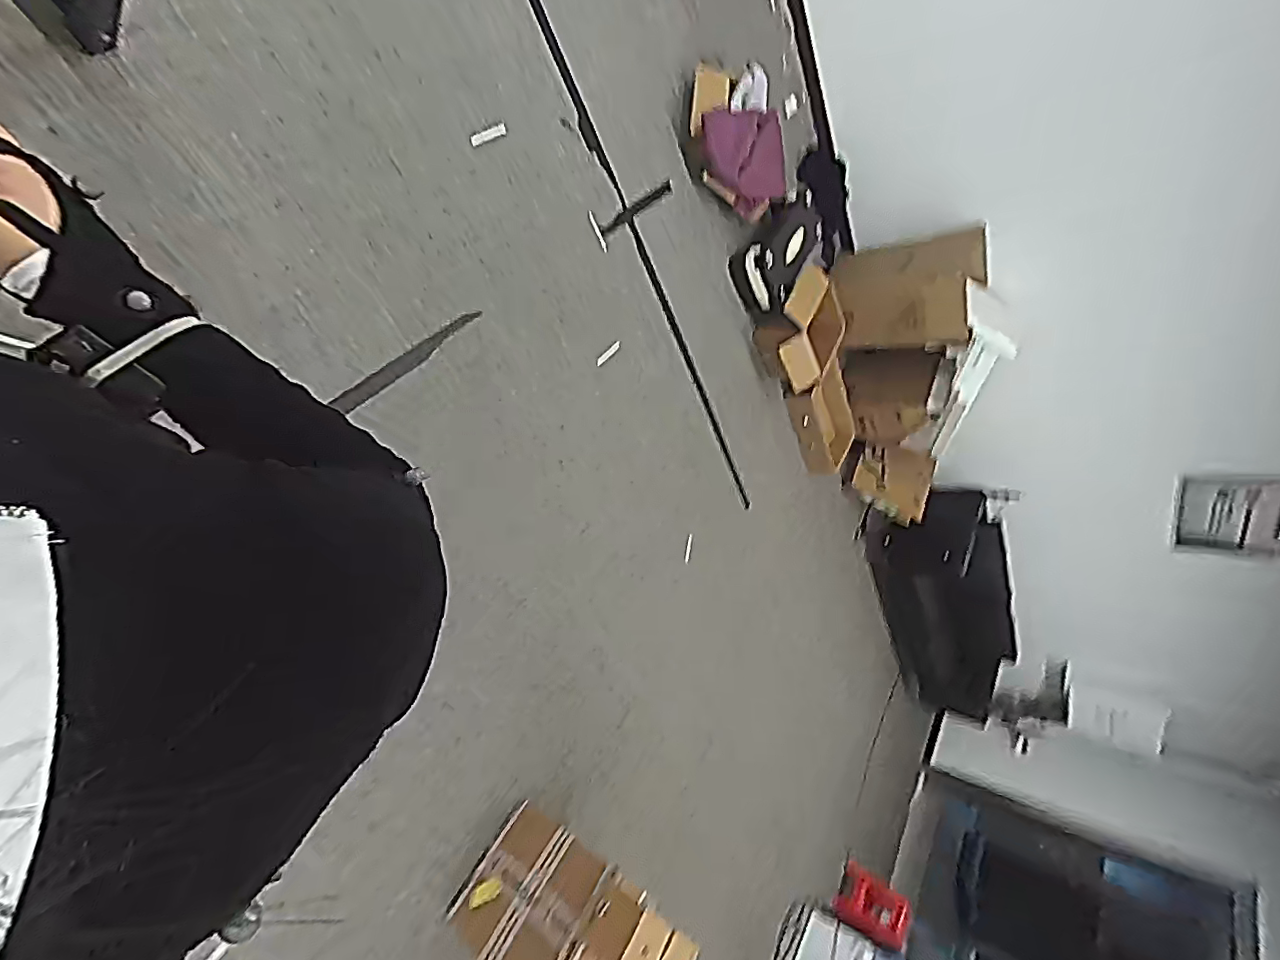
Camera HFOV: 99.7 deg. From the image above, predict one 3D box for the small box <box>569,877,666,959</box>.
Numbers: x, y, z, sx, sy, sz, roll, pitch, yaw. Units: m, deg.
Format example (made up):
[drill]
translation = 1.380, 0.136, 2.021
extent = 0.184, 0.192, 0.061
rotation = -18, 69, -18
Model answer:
[small box]
translation = -0.063, 1.266, 1.519
extent = 0.168, 0.176, 0.179
rotation = -52, 125, -34
